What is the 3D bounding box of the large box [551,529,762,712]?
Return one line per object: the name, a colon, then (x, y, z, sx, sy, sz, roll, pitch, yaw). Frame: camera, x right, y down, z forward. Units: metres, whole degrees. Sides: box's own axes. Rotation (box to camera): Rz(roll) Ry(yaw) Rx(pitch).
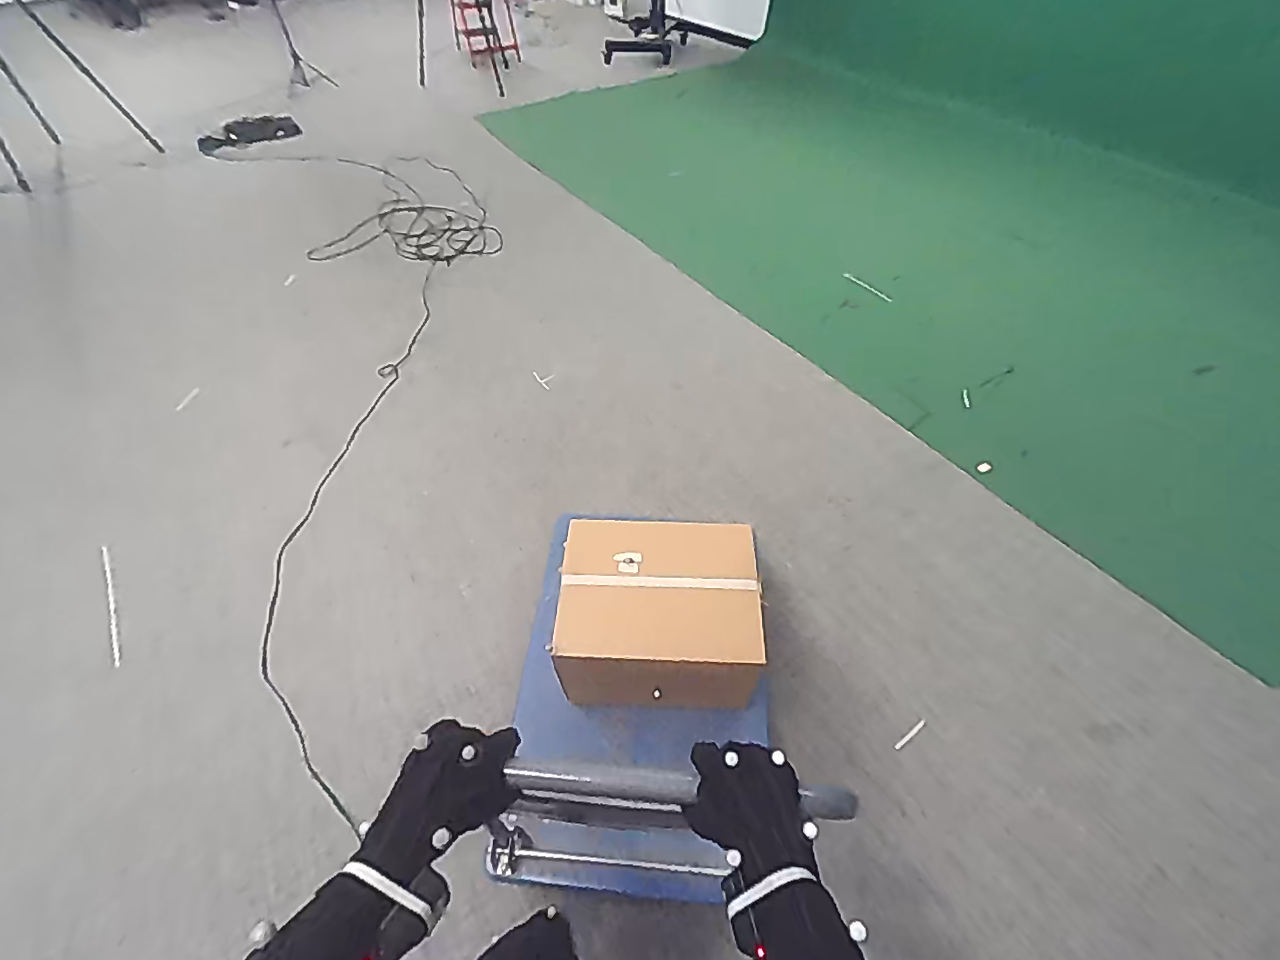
large box: (0.037, 0.322, 1.218, 0.408, 0.320, 0.320, 1, 51, 2)
